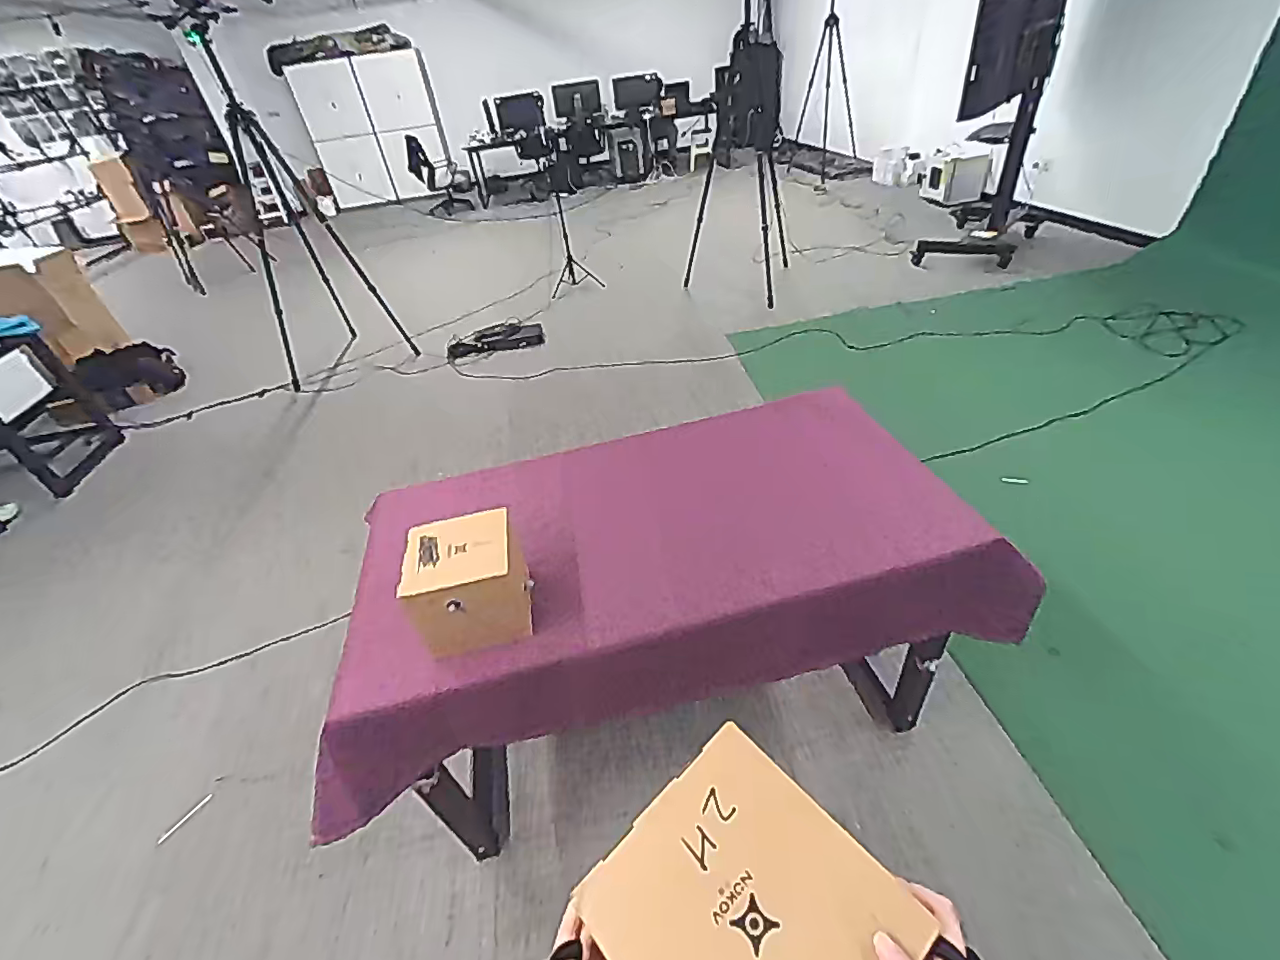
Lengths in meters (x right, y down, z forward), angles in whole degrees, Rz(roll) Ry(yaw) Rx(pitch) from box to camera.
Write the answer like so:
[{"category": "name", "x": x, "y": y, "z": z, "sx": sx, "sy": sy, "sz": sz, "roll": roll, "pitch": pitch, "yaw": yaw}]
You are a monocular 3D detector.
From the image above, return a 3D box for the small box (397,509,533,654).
[{"category": "small box", "x": -0.297, "y": 0.180, "z": 0.951, "sx": 0.179, "sy": 0.176, "sz": 0.168, "roll": -12, "pitch": 38, "yaw": -5}]
